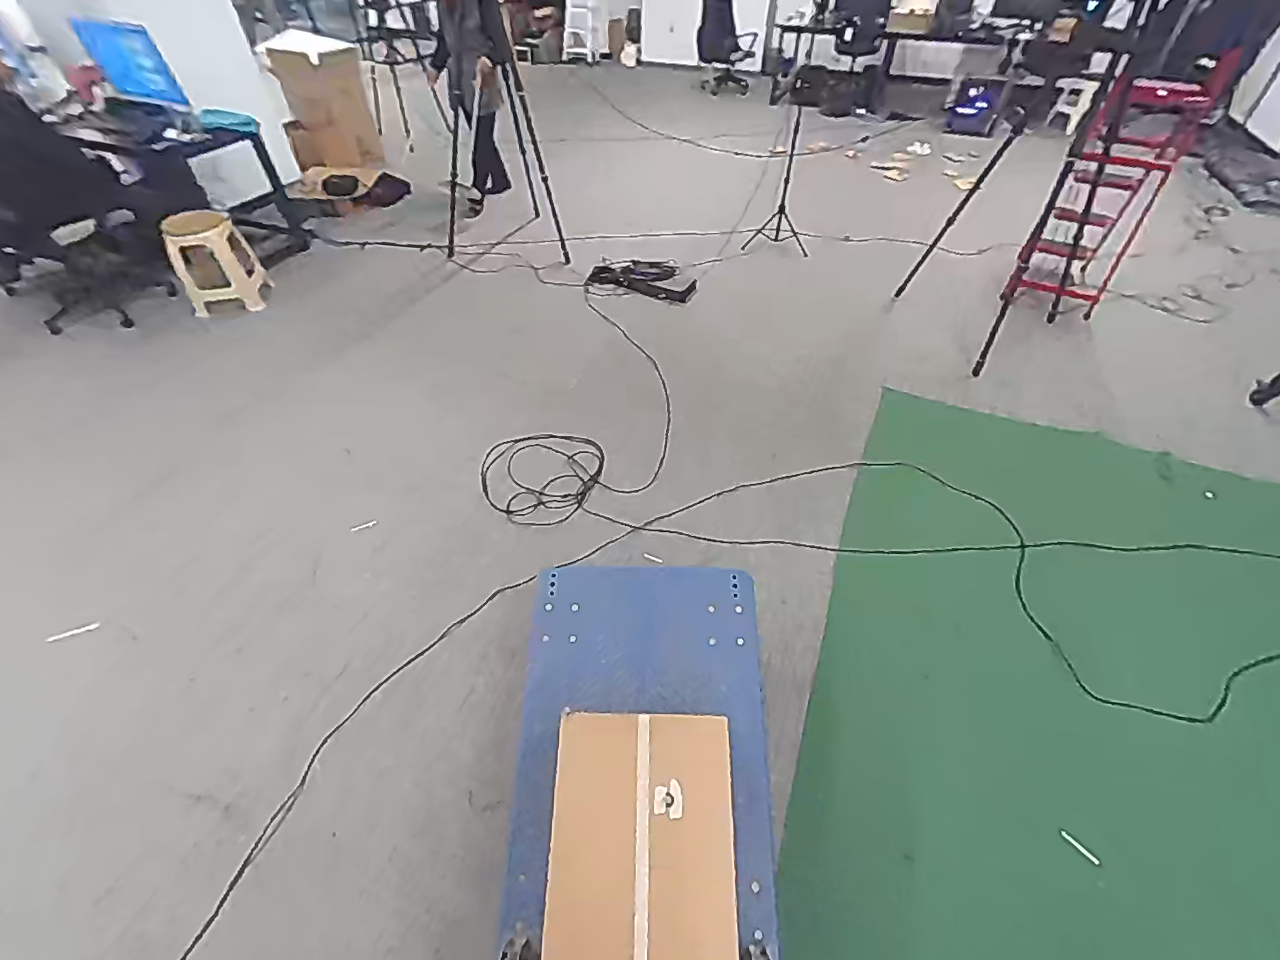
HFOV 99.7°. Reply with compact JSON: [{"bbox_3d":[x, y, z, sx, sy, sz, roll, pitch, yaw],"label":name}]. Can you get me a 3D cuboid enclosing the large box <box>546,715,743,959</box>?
[{"bbox_3d":[0.013,0.689,1.049,0.320,0.320,0.408,0,62,2],"label":"large box"}]
